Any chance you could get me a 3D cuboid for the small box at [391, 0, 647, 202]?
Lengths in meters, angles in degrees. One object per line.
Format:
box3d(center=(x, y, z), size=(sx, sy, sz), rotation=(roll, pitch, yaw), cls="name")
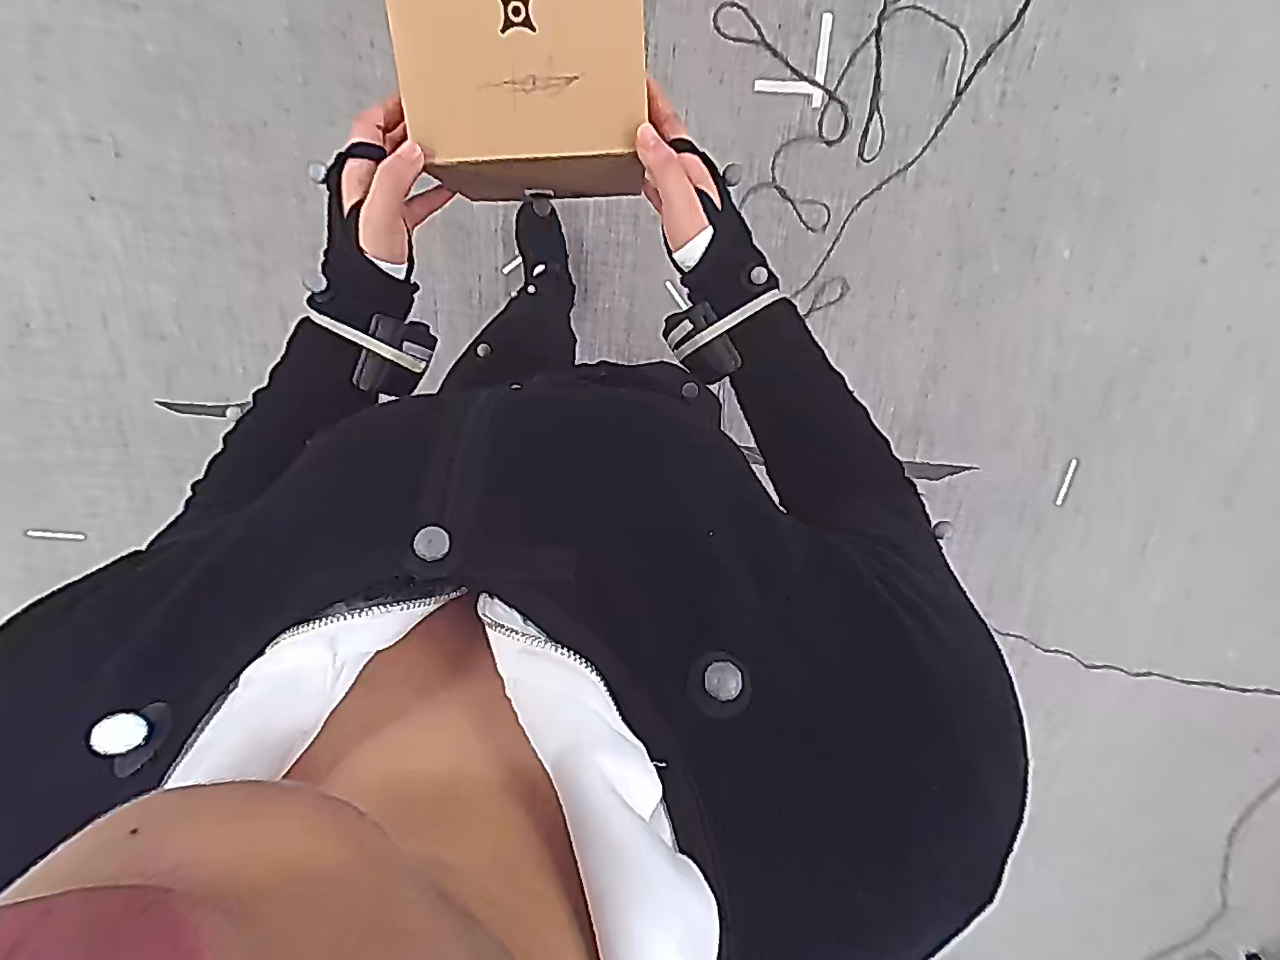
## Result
box3d(center=(-0.083, -0.335, 0.430), size=(0.168, 0.176, 0.179), rotation=(-3, 109, 0), cls="small box")
